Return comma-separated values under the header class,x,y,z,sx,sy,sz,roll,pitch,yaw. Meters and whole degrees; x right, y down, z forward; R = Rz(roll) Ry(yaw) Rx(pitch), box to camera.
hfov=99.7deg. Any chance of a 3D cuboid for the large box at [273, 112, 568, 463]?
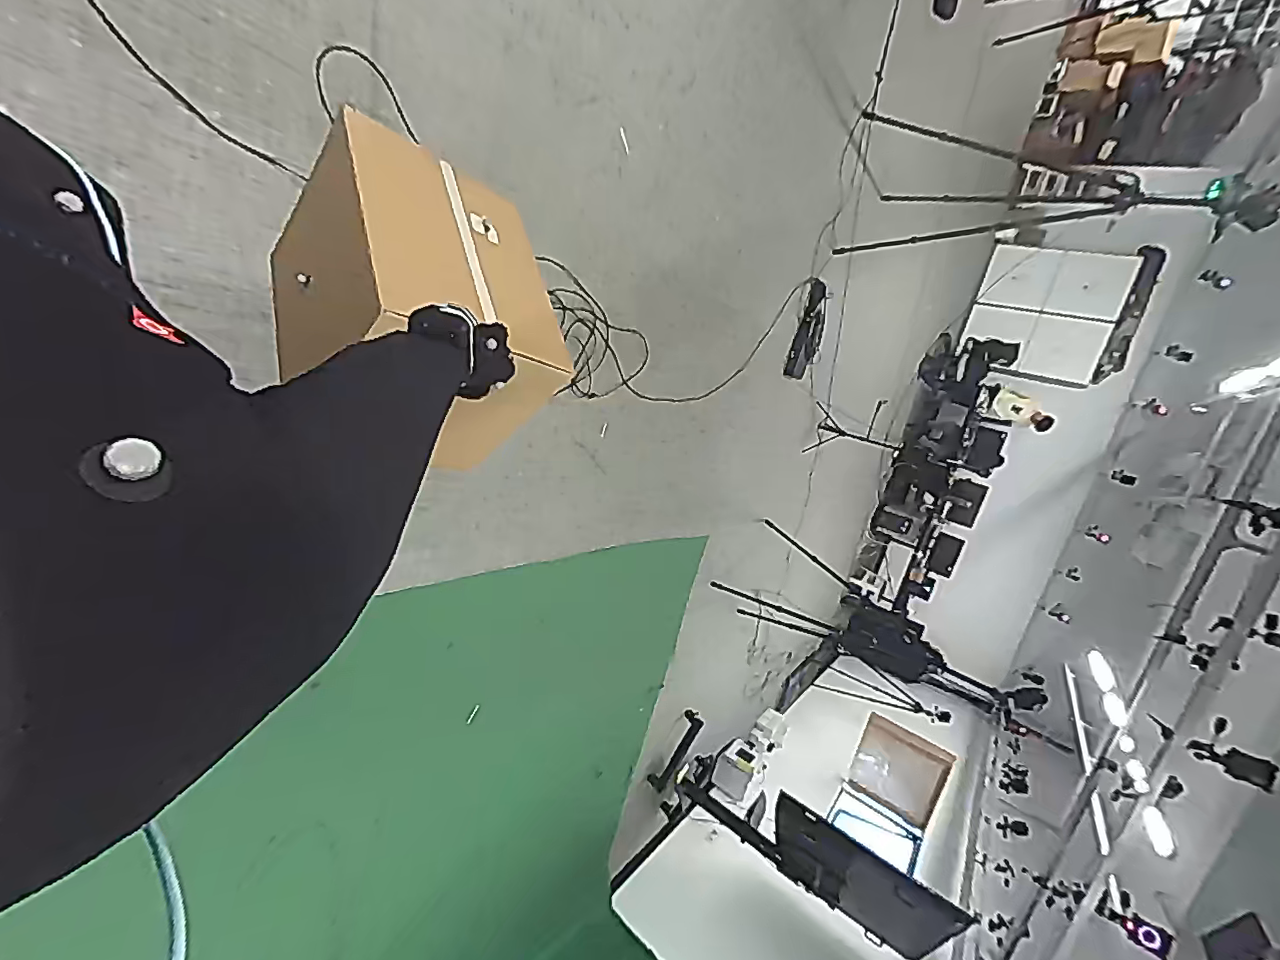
class,x,y,z,sx,sy,sz,roll,pitch,yaw
large box,-0.380,-0.282,0.909,0.320,0.408,0.320,-35,153,30
